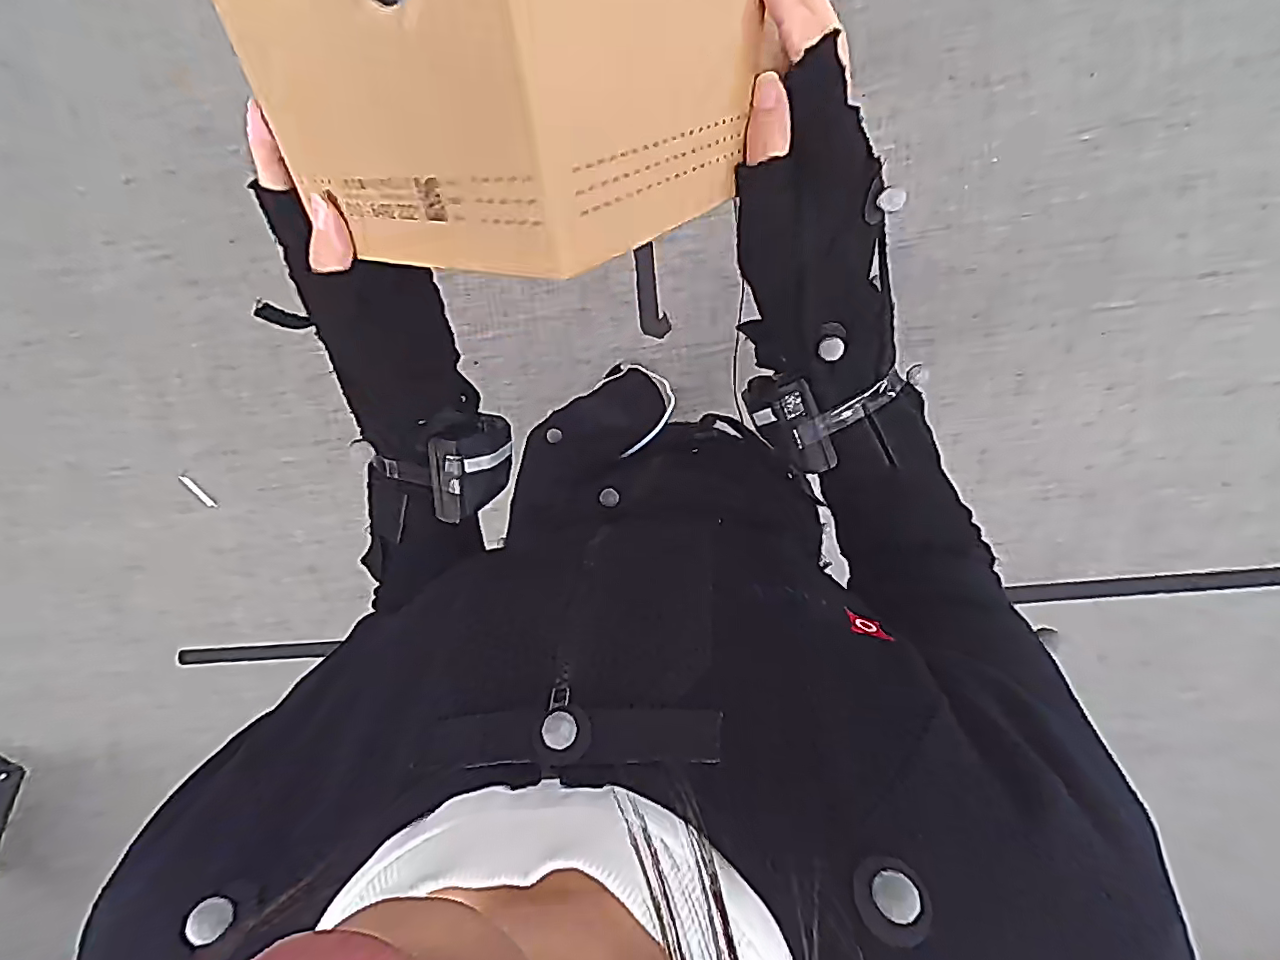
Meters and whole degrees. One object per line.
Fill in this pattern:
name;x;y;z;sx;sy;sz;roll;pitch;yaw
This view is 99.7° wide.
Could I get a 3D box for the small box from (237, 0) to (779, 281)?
small box;-0.045;-0.197;0.231;0.168;0.179;0.176;18;135;31
